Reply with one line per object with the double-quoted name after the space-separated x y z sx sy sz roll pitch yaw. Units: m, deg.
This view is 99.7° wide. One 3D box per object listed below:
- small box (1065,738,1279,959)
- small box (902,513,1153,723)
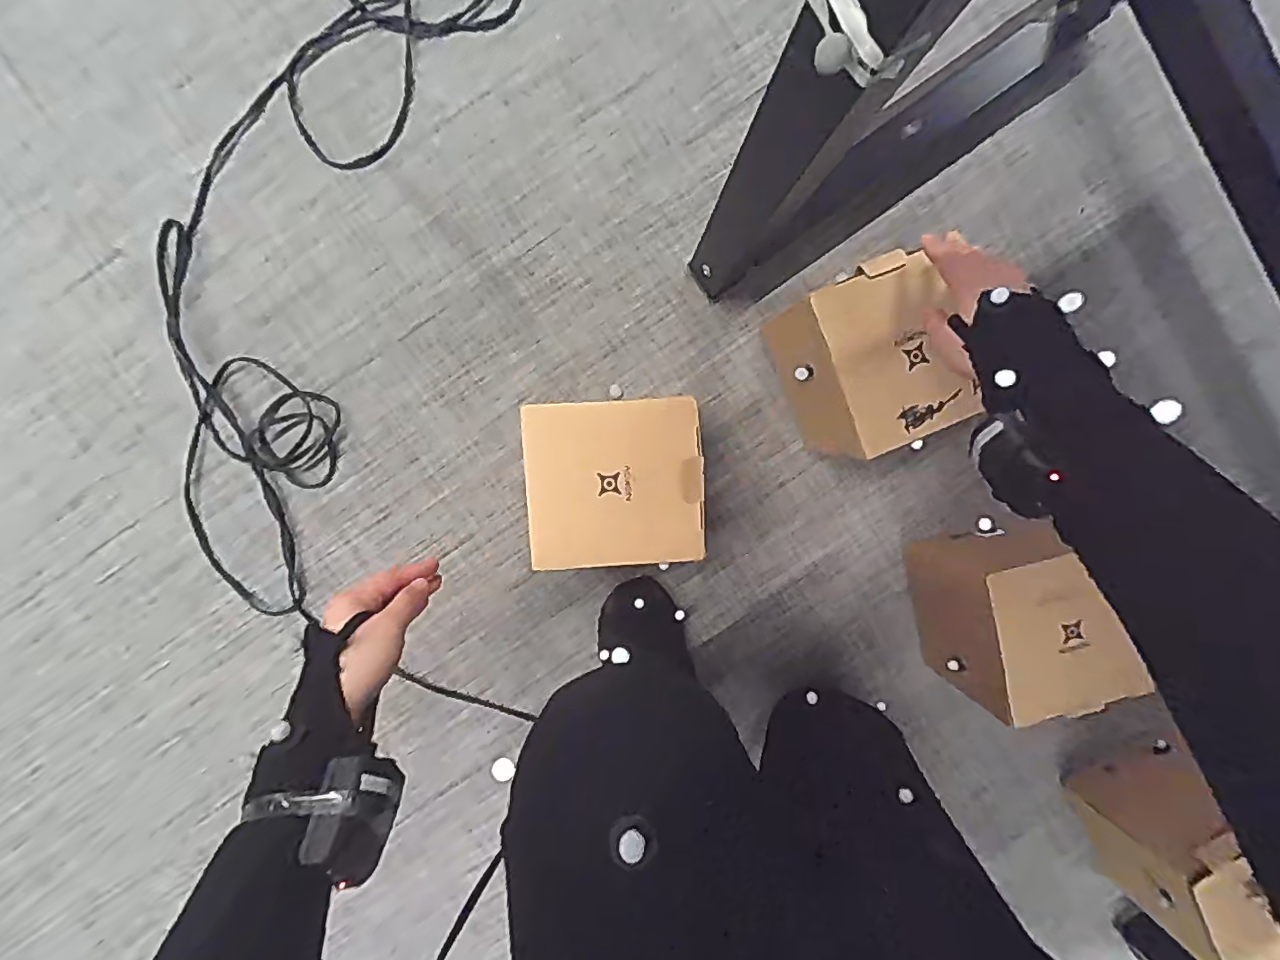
0.700 0.464 0.687 0.168 0.176 0.179 -28 97 0 "small box"
0.444 0.150 0.645 0.168 0.176 0.179 -14 95 -2 "small box"
